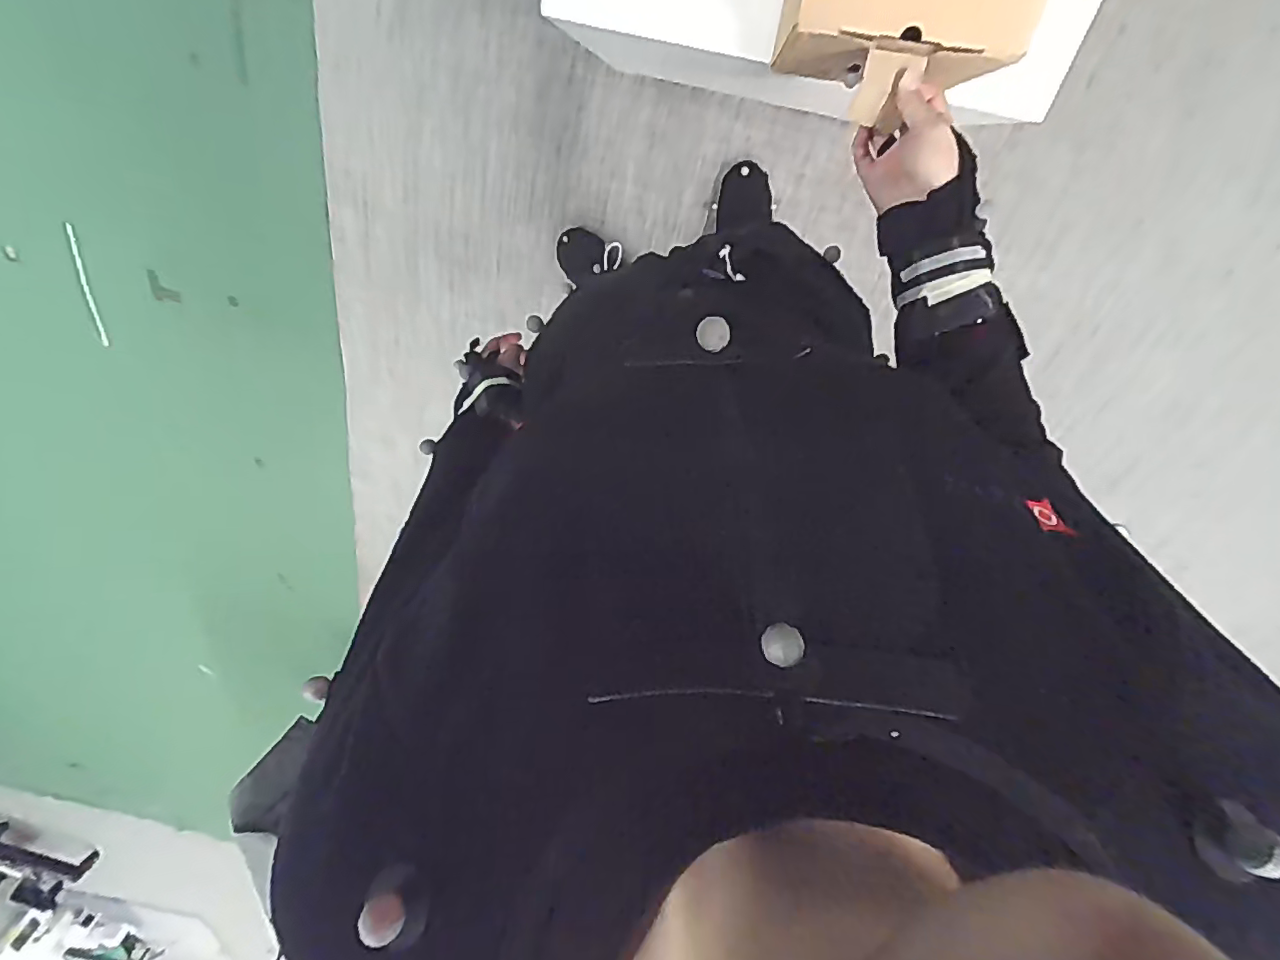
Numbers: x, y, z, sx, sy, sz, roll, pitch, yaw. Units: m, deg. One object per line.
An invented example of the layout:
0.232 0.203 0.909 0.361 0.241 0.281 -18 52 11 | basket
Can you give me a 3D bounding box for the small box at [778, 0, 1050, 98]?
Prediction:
0.211 -0.419 0.414 0.168 0.176 0.179 9 120 2 | small box
